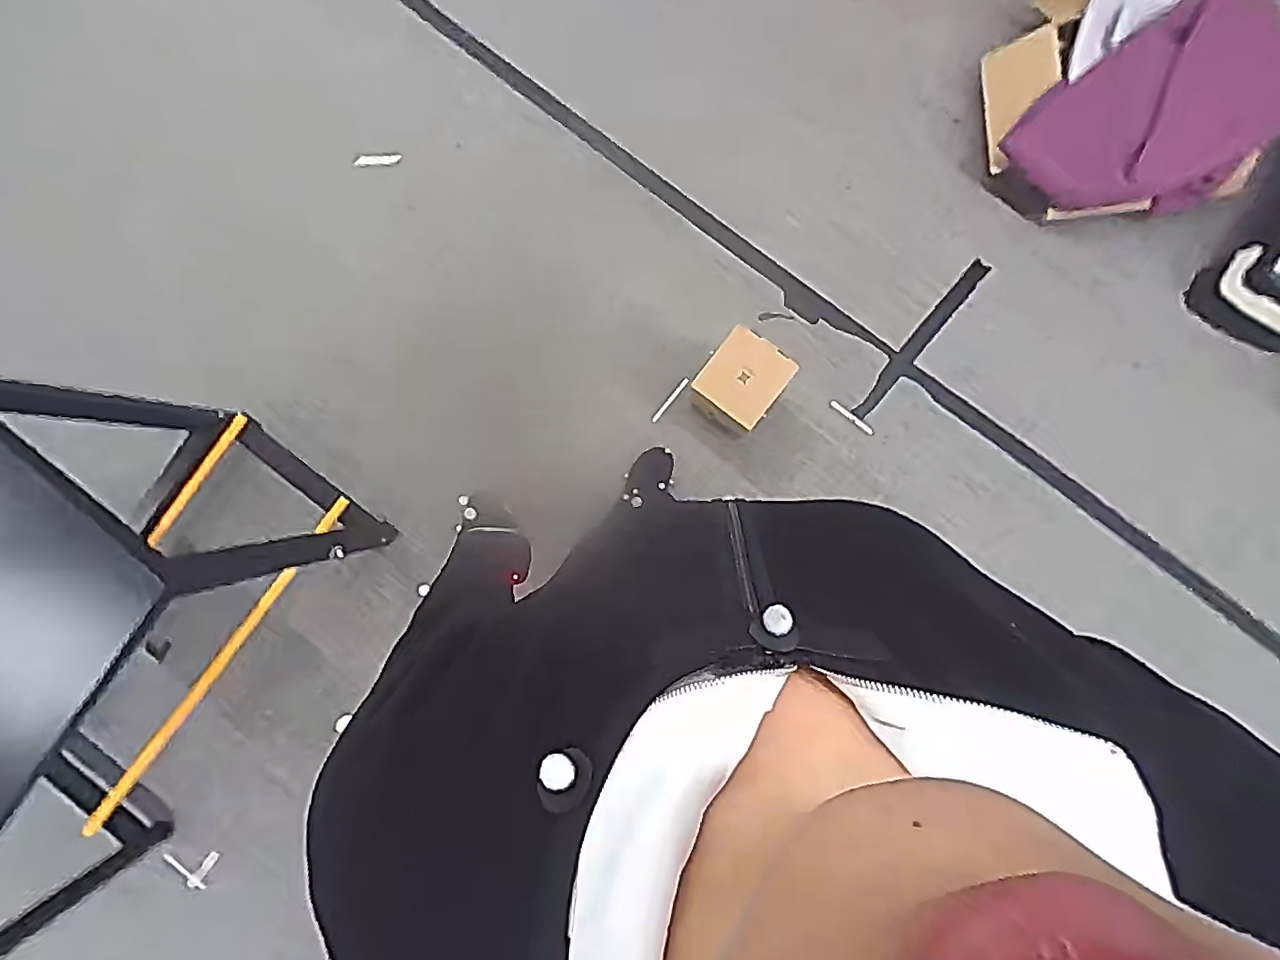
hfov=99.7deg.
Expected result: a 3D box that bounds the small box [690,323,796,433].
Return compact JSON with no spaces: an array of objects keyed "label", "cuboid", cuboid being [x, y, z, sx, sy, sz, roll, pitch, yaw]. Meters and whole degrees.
[{"label":"small box","cuboid":[0.229,-0.226,1.248,0.168,0.176,0.179,38,94,4]}]

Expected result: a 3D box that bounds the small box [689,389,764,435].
[{"label":"small box","cuboid":[0.244,-0.231,1.410,0.179,0.176,0.168,37,93,3]}]
